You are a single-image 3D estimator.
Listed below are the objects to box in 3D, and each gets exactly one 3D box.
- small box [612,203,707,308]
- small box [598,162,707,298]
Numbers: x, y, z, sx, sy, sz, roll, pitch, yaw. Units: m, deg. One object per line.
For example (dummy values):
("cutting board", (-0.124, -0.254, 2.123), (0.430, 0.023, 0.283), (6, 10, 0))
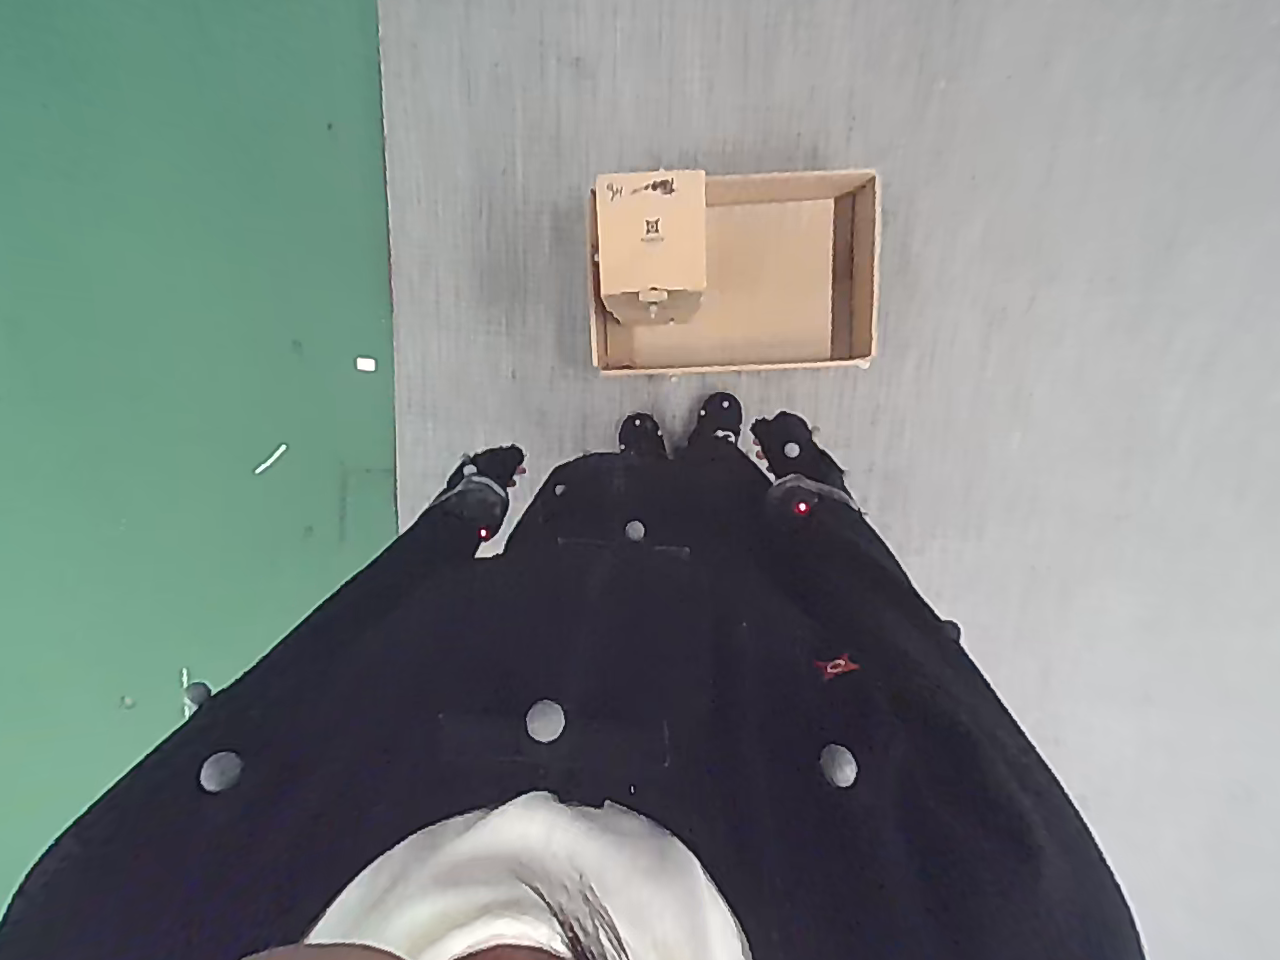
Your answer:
("small box", (0.037, -0.435, 1.060), (0.179, 0.176, 0.168), (-1, 100, 3))
("small box", (0.023, -0.402, 0.901), (0.168, 0.176, 0.179), (-1, 100, 2))
